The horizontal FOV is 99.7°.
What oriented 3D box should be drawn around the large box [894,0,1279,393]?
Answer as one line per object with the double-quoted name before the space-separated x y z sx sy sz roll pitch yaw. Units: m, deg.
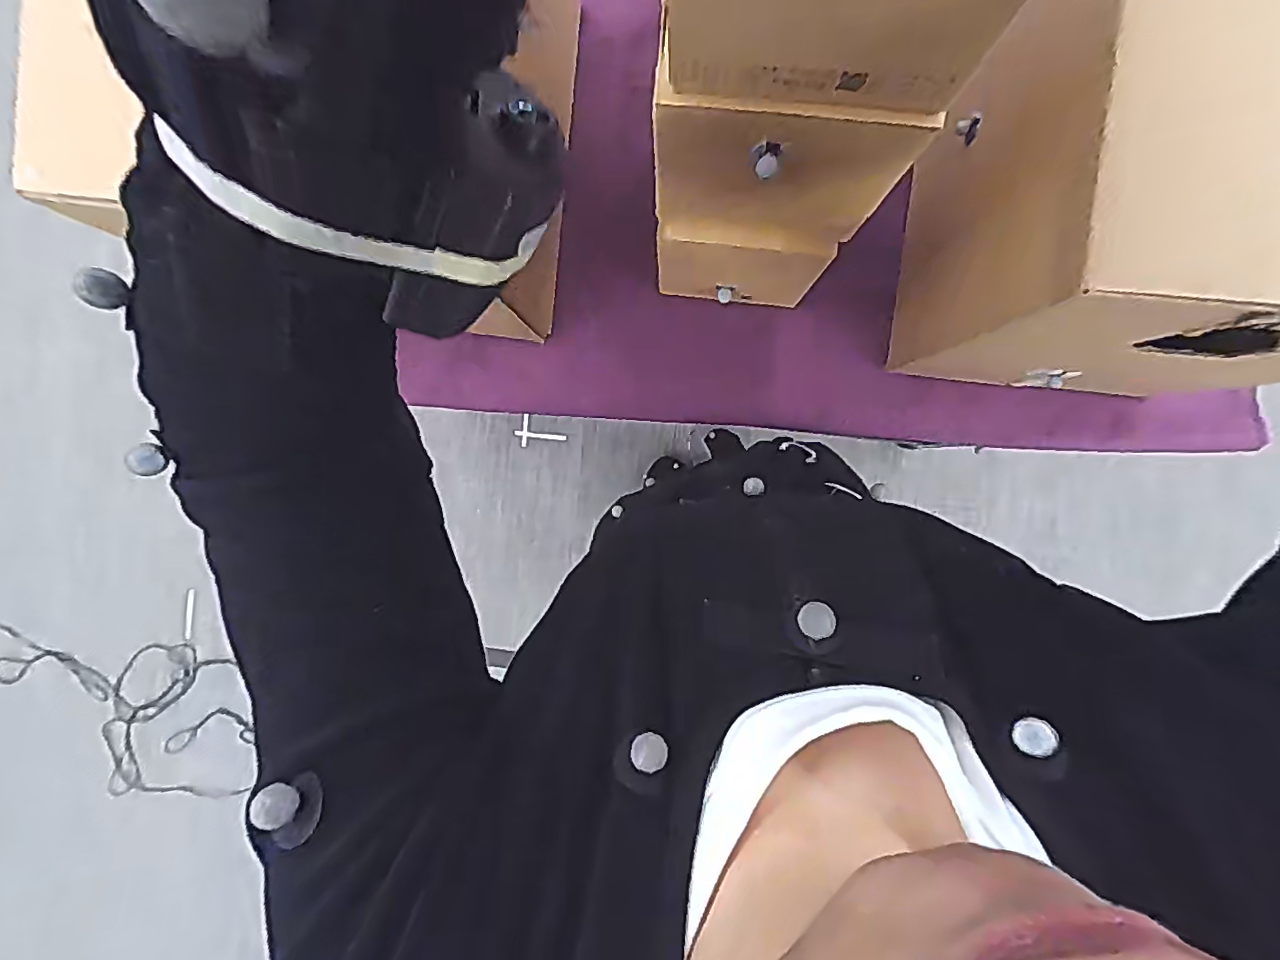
"large box" 0.454 -0.304 0.478 0.320 0.320 0.408 6 92 3
